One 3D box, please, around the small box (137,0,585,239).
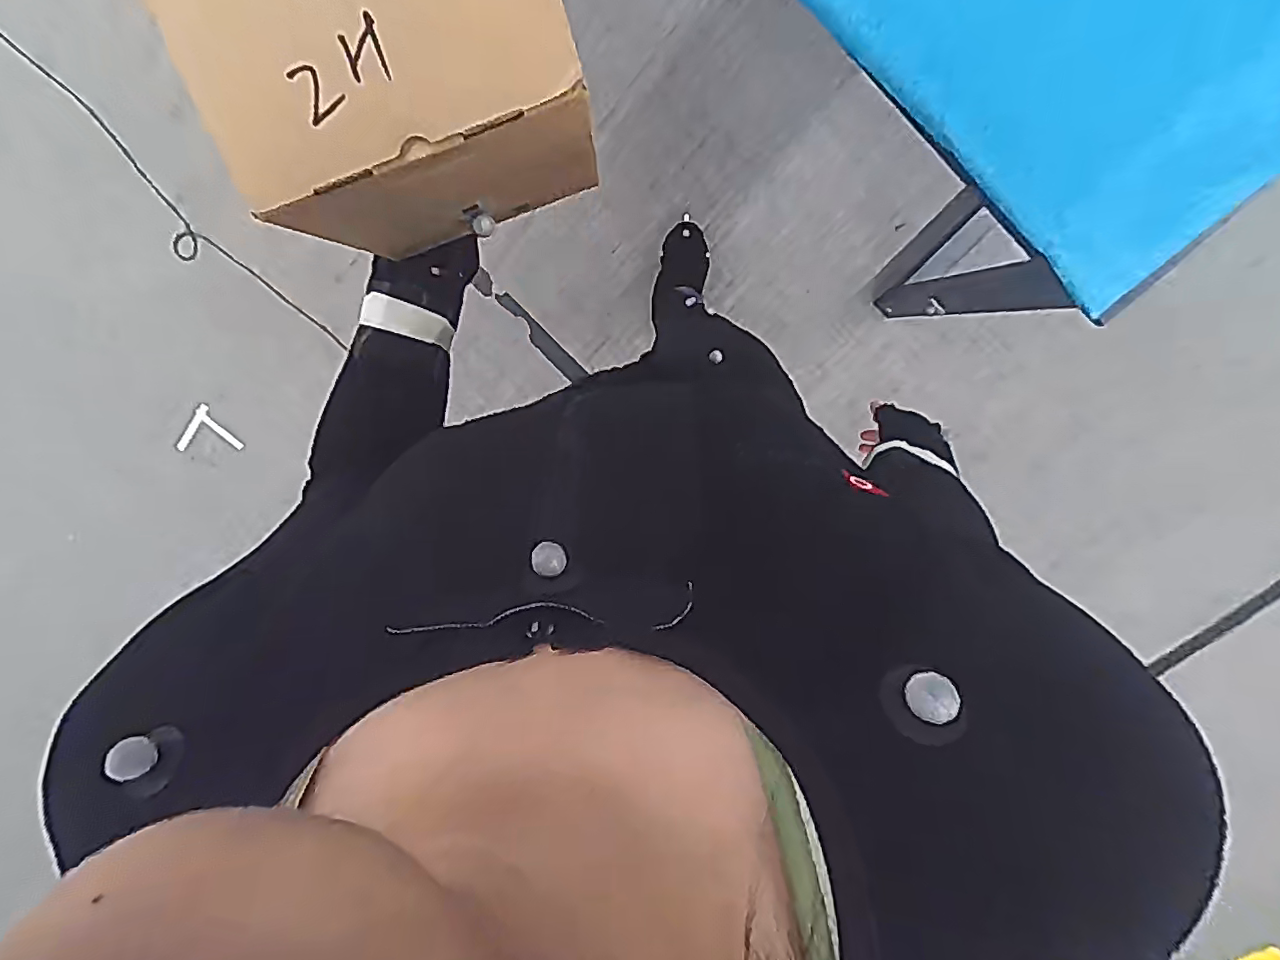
[{"bbox_3d":[-0.134,-0.250,0.296,0.168,0.176,0.179,-14,109,4],"label":"small box"}]
